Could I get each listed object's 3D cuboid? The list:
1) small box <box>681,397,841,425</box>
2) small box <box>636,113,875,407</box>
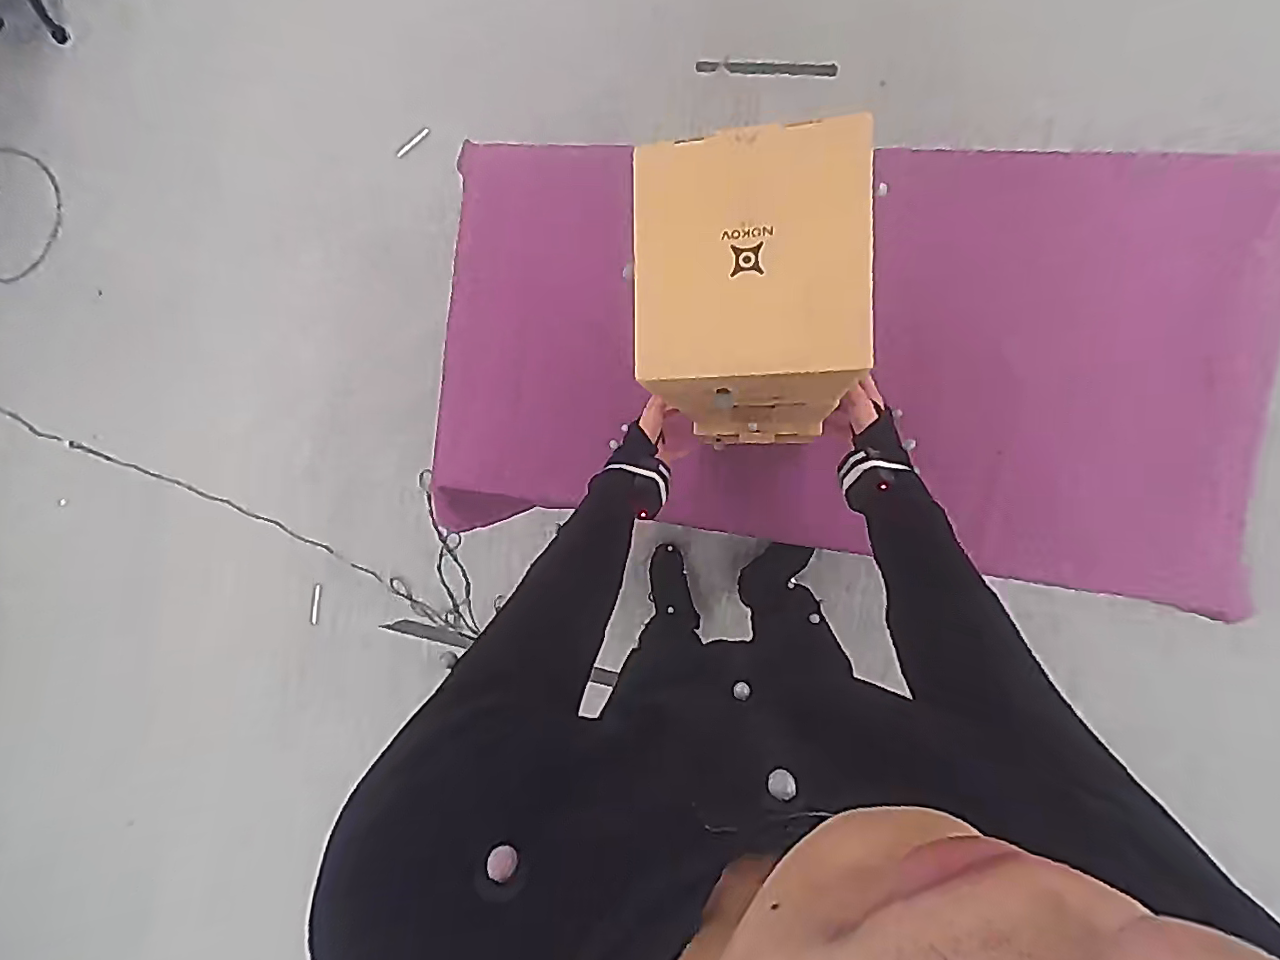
[{"bbox_3d":[0.135,-0.159,0.612,0.168,0.176,0.179,2,91,13],"label":"small box"},{"bbox_3d":[0.095,-0.157,0.454,0.168,0.176,0.179,-1,89,13],"label":"small box"}]
